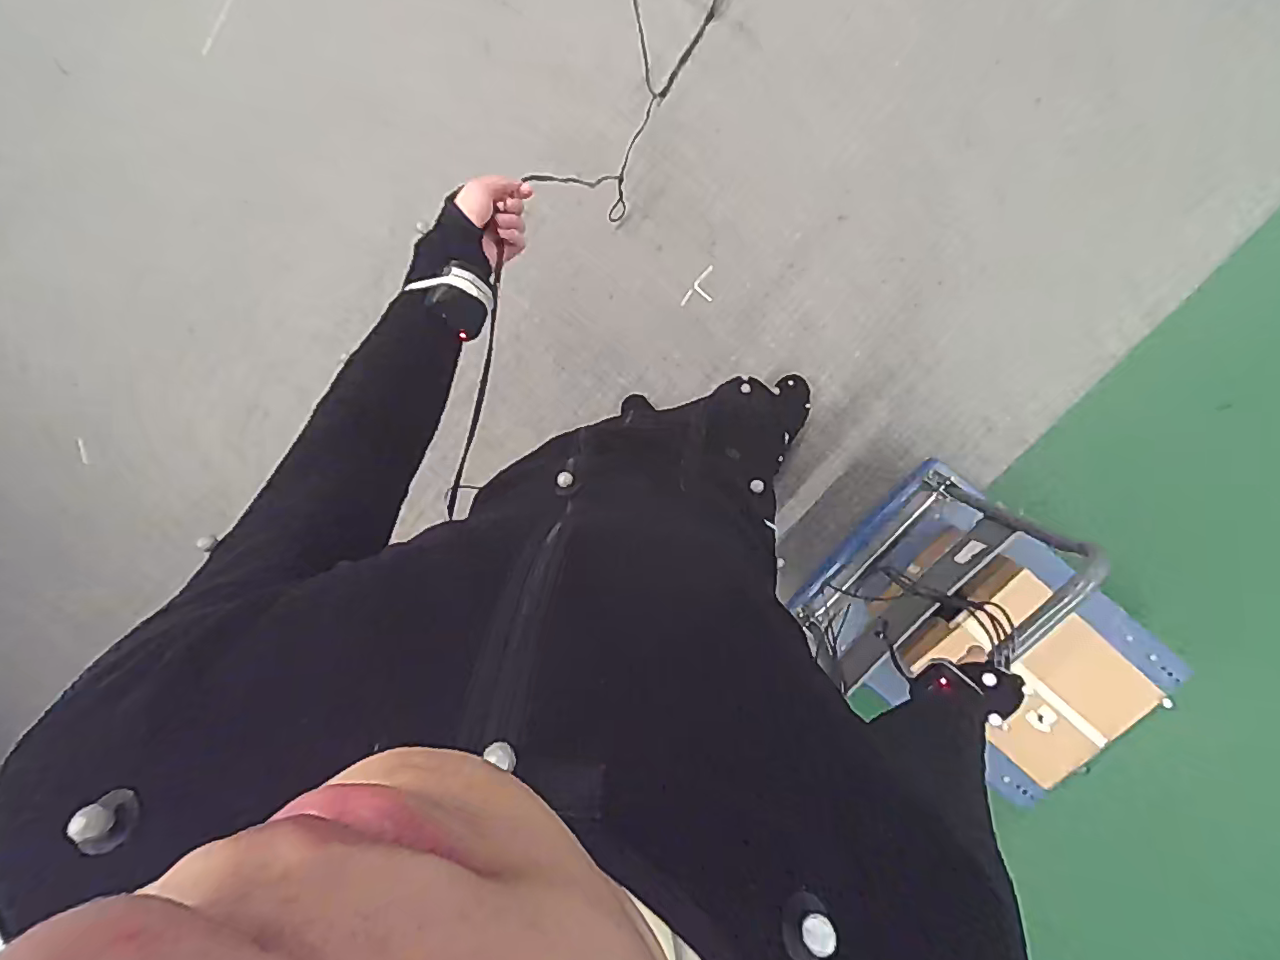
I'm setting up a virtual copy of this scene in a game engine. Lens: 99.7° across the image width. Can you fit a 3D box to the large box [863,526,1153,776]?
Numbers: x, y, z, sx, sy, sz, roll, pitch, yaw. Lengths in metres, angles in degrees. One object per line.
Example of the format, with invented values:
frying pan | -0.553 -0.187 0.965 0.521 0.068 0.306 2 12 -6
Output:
large box | 0.819 0.375 1.270 0.408 0.320 0.320 41 103 -4
